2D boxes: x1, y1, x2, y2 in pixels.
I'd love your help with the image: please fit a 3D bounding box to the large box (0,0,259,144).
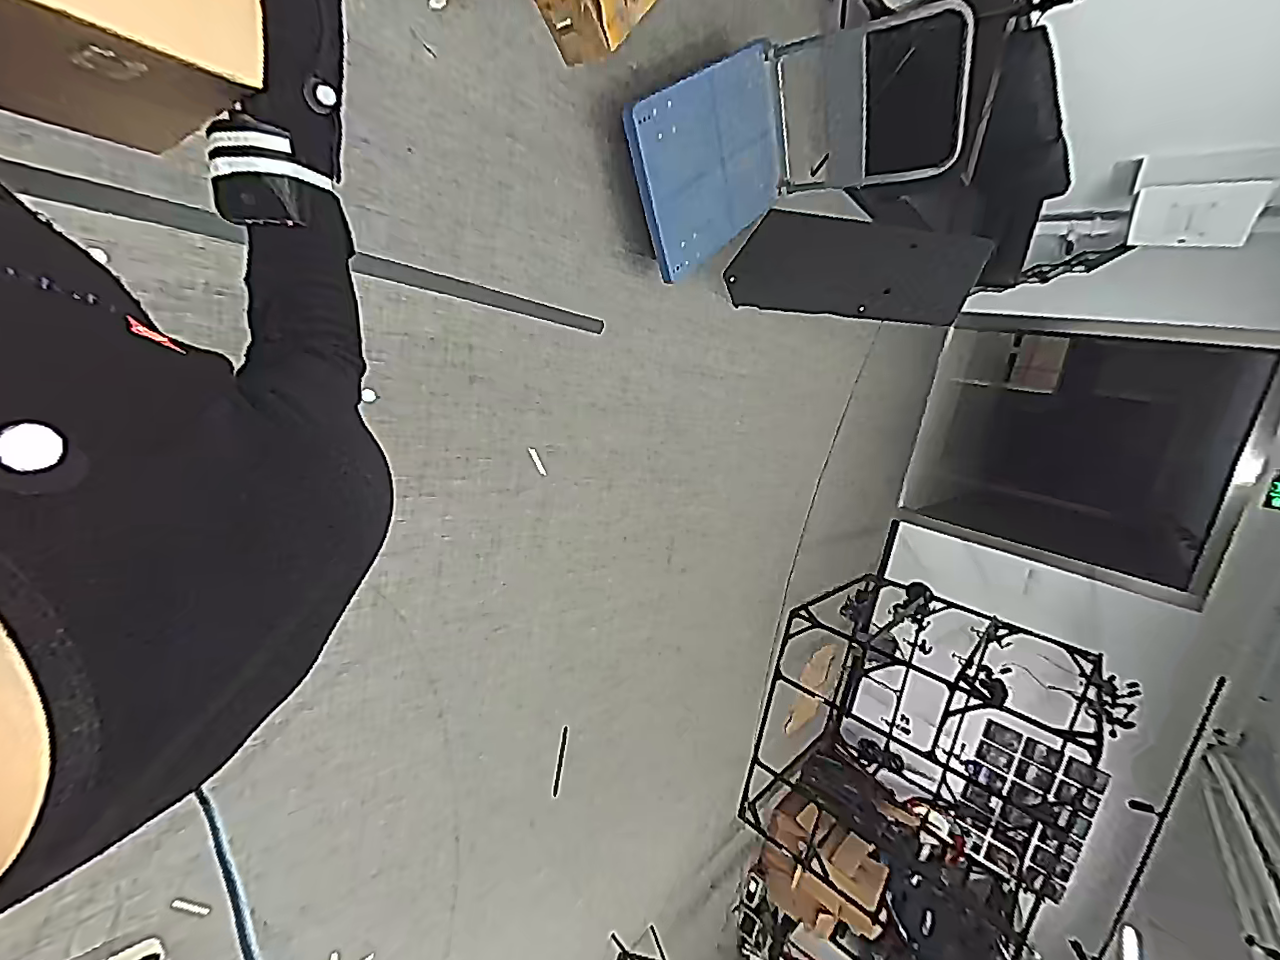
[{"bbox_3d":[-0.494,-0.441,0.286,0.408,0.320,0.320,-8,109,-51],"label":"large box"}]
